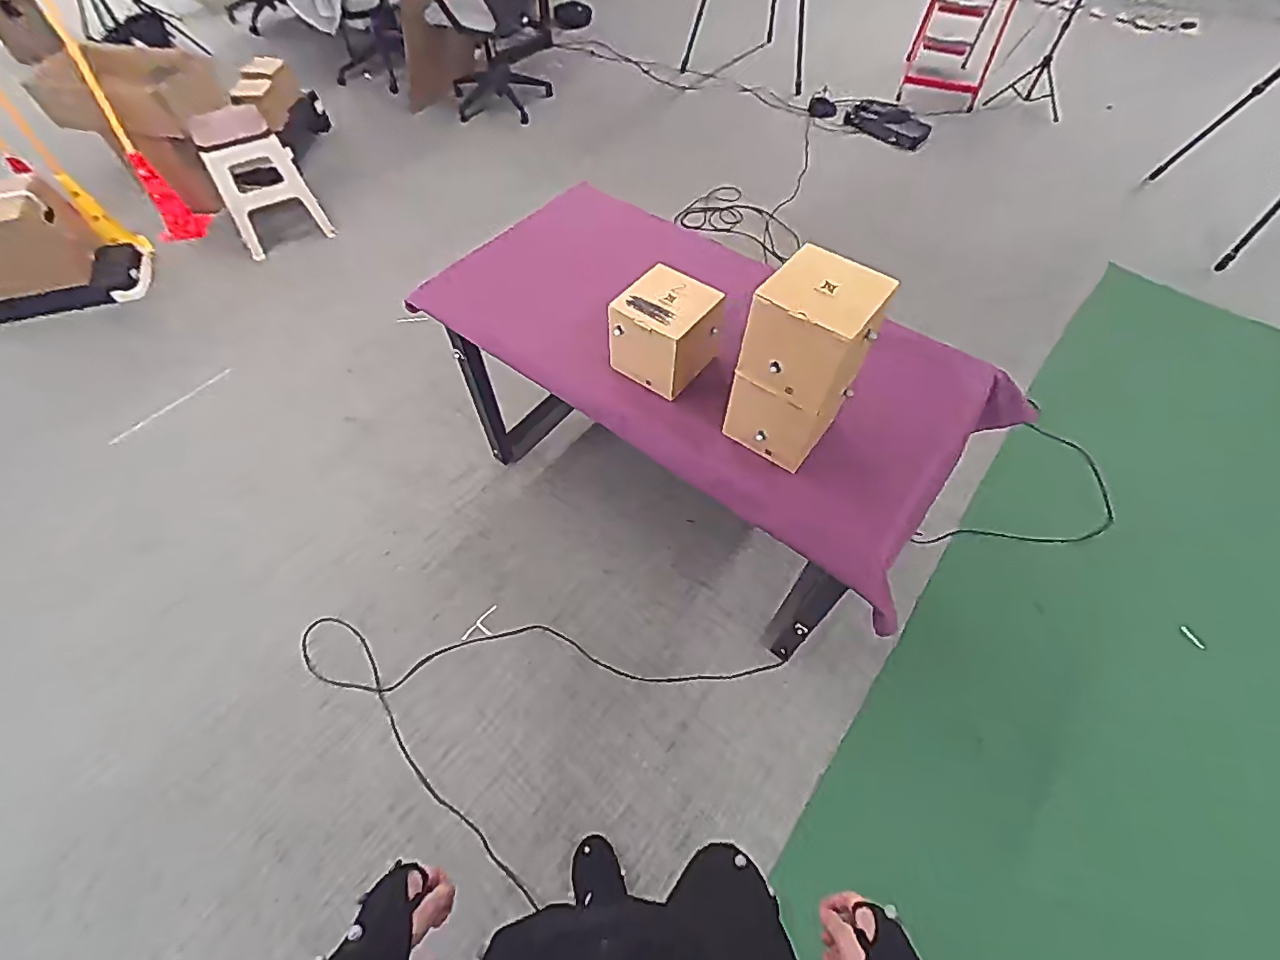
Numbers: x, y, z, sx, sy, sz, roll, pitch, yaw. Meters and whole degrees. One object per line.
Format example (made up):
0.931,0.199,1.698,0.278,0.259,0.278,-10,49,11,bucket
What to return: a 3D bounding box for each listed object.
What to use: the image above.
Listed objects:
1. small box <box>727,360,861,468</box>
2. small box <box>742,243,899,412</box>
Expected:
0.283,-0.158,1.030,0.168,0.176,0.179,33,62,19,small box
0.287,-0.250,0.896,0.168,0.176,0.179,34,62,19,small box
